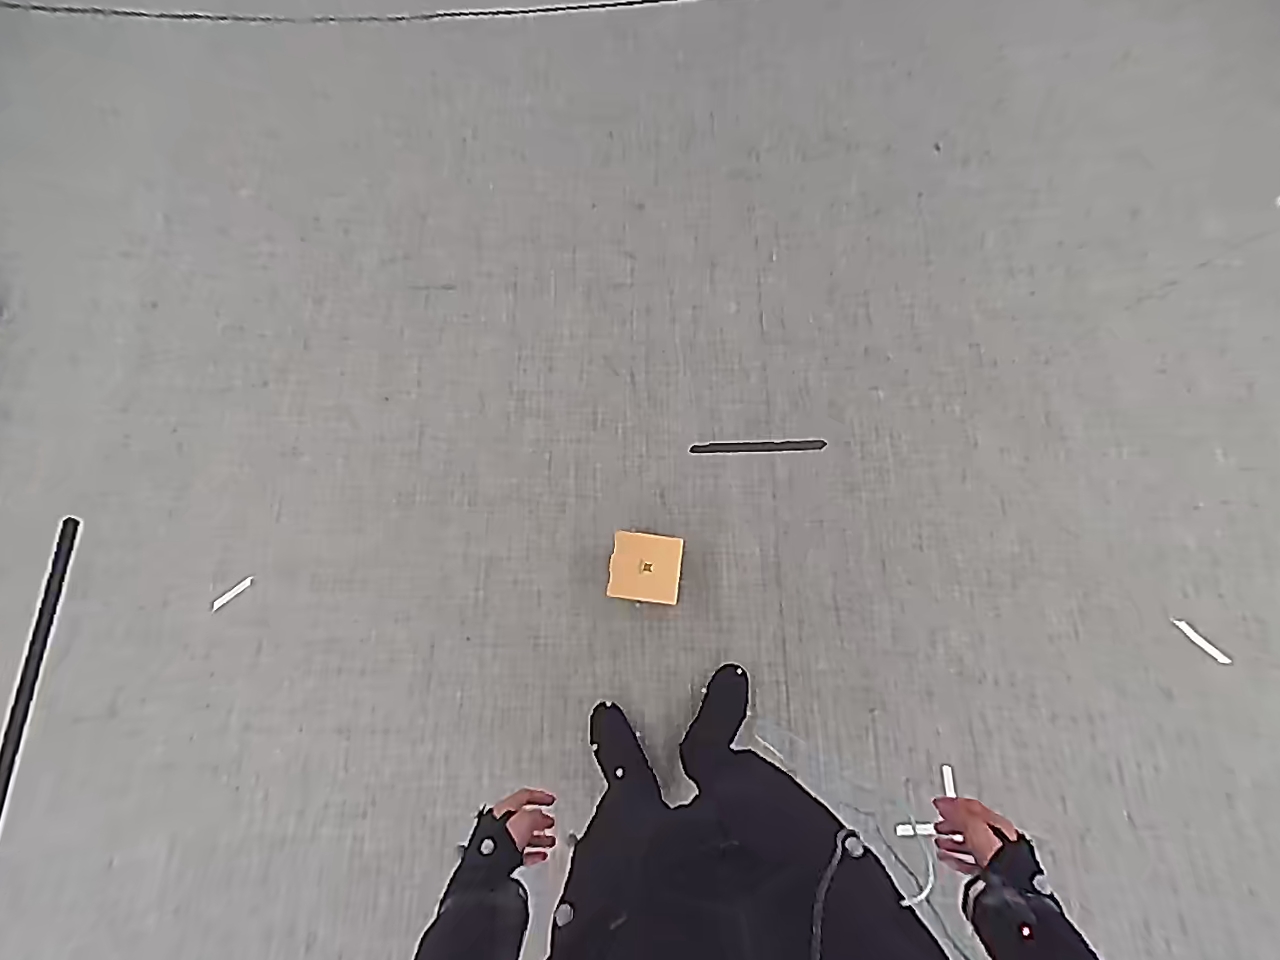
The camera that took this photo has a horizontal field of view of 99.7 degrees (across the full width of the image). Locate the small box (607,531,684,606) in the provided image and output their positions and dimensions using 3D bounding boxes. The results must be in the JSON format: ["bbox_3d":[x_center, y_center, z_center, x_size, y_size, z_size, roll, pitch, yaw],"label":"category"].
[{"bbox_3d":[0.017,0.236,1.422,0.179,0.176,0.168,7,77,5],"label":"small box"}]
